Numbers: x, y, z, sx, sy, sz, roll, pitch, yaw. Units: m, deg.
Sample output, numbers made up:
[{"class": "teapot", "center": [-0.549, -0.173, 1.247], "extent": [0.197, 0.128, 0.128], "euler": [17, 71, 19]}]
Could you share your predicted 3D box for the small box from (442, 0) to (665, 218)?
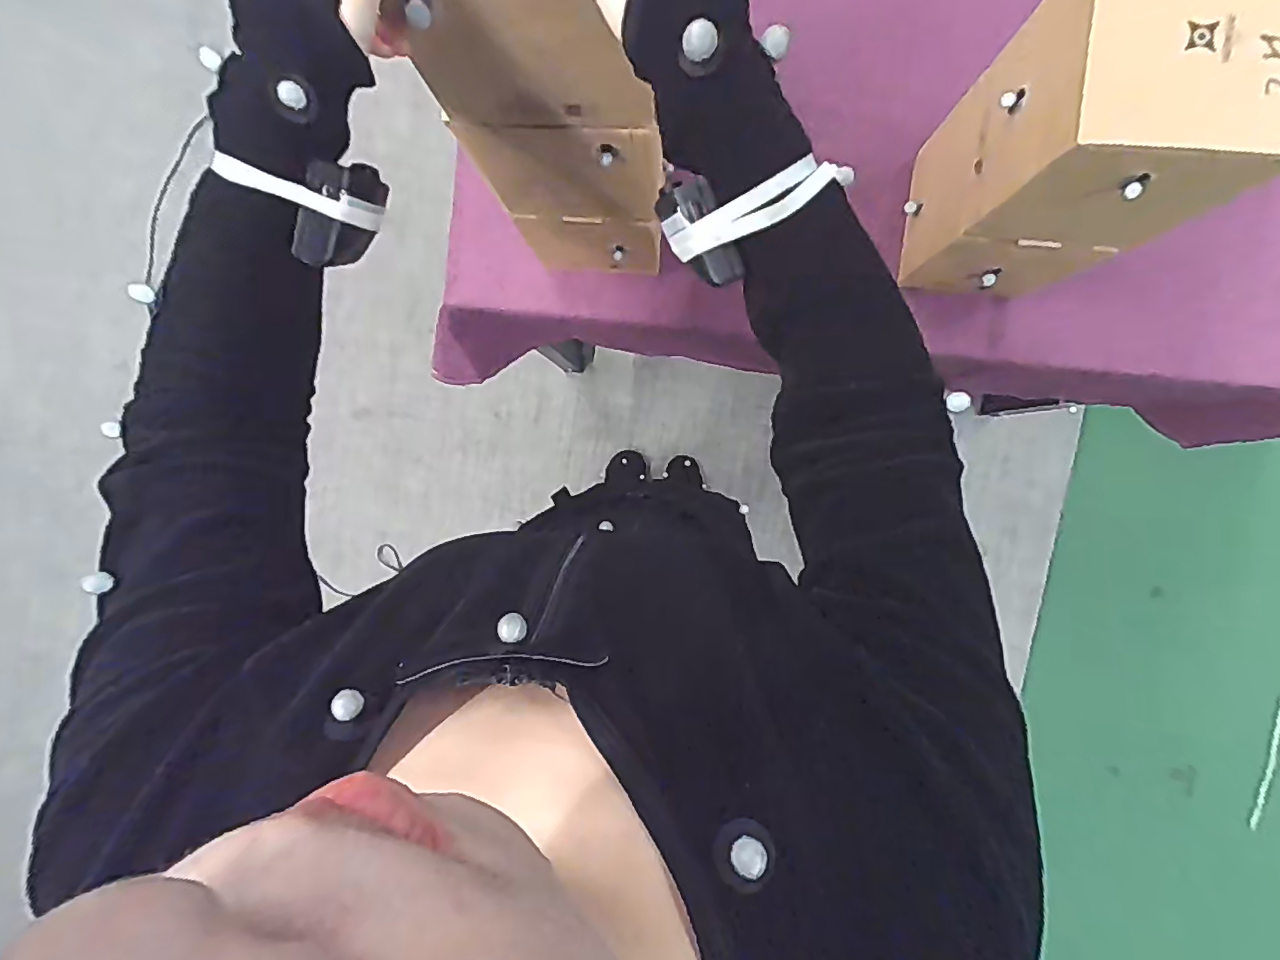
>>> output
[{"class": "small box", "center": [-0.069, -0.371, 0.519], "extent": [0.179, 0.176, 0.168], "euler": [3, 92, 1]}]

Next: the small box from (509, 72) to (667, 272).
[{"class": "small box", "center": [-0.055, -0.377, 0.680], "extent": [0.168, 0.176, 0.179], "euler": [5, 92, 2]}]

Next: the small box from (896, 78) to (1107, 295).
[{"class": "small box", "center": [0.433, -0.338, 0.656], "extent": [0.168, 0.176, 0.179], "euler": [7, 94, 2]}]

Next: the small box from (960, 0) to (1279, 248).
[{"class": "small box", "center": [0.426, -0.328, 0.491], "extent": [0.179, 0.176, 0.168], "euler": [6, 93, 3]}]
